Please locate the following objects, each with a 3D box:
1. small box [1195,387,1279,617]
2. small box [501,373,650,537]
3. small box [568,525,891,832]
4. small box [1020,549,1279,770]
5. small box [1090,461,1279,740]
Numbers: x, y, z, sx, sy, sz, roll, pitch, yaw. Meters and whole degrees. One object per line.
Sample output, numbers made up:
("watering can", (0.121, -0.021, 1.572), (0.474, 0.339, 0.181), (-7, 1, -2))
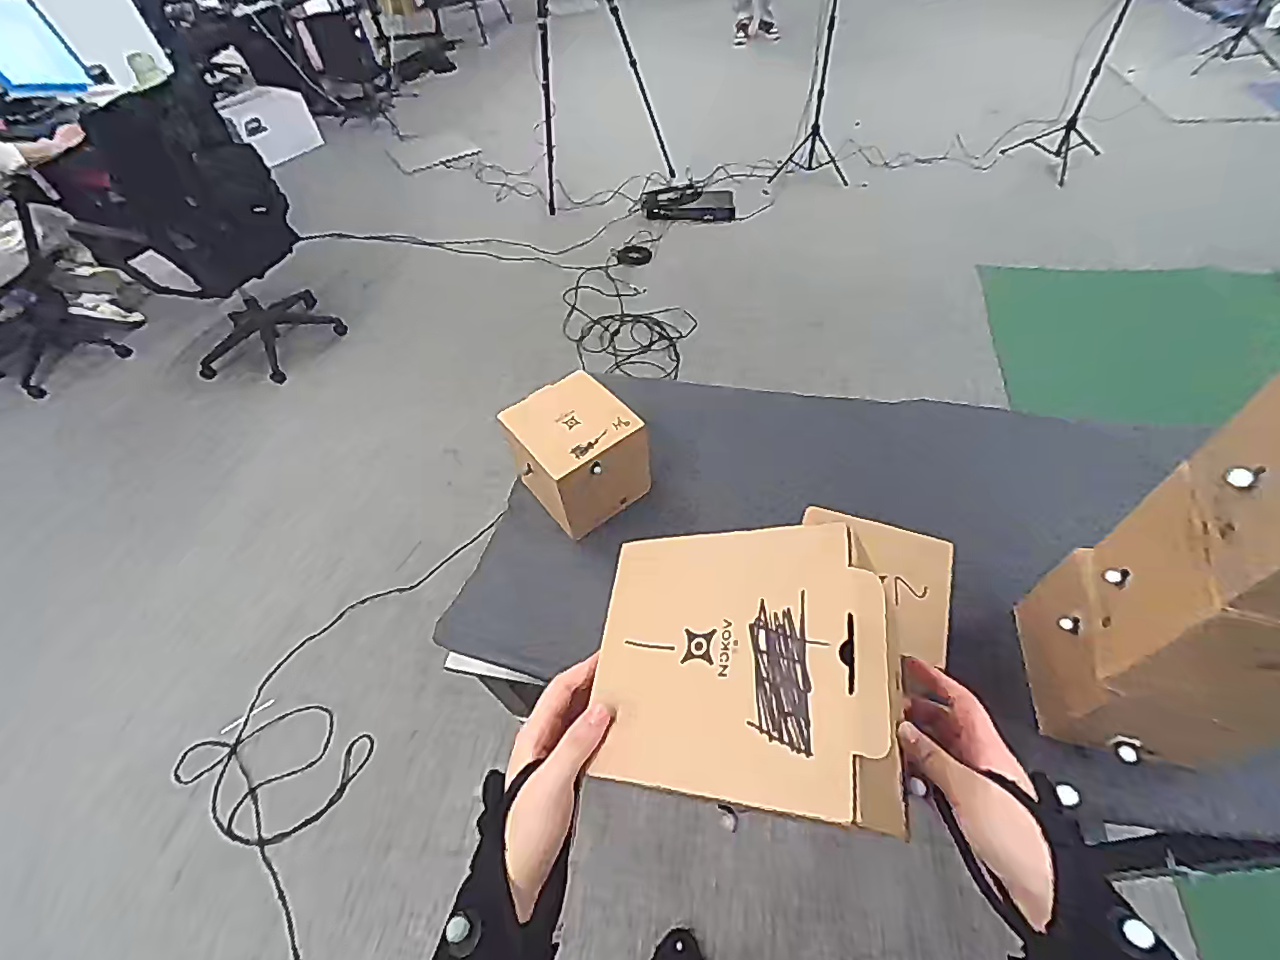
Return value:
("small box", (0.542, 0.007, 0.361), (0.179, 0.176, 0.168), (16, 54, 21))
("small box", (-0.100, -0.040, 0.894), (0.168, 0.176, 0.179), (-34, 56, -19))
("small box", (0.080, 0.150, 0.403), (0.179, 0.176, 0.168), (-10, 52, 32))
("small box", (0.572, 0.206, 0.619), (0.168, 0.176, 0.179), (6, 52, 12))
("small box", (0.554, 0.114, 0.486), (0.179, 0.176, 0.168), (15, 54, 20))
